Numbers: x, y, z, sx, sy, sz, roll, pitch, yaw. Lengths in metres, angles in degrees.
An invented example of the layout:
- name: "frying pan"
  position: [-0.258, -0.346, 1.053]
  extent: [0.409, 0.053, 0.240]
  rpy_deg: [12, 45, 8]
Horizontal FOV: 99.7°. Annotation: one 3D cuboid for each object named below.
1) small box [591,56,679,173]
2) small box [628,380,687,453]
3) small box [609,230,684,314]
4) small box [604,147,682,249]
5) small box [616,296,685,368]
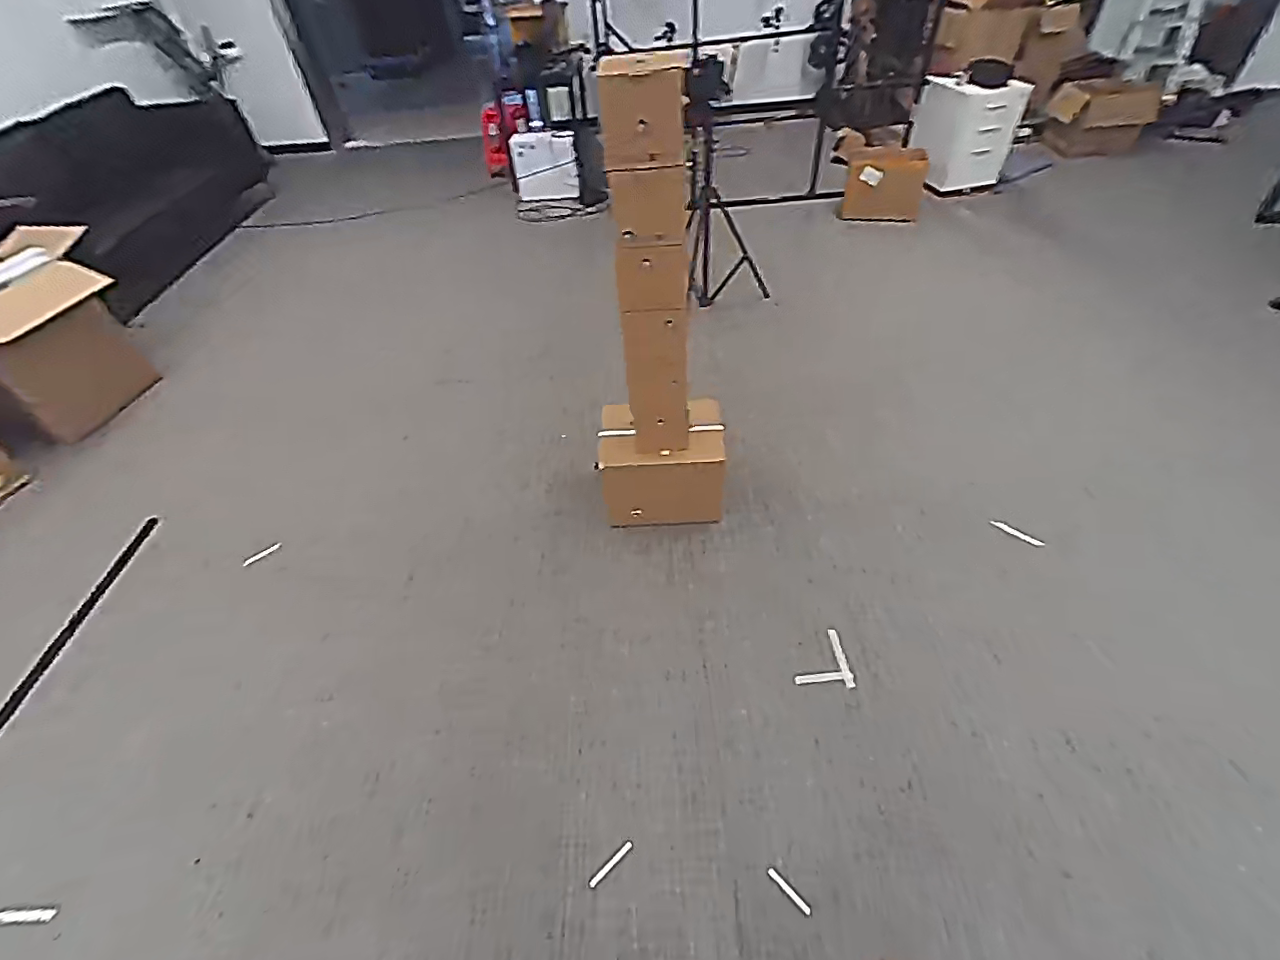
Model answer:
- name: "small box"
  position: [-0.005, -0.761, 1.136]
  extent: [0.168, 0.176, 0.179]
  rpy_deg: [-3, 48, 3]
- name: "small box"
  position: [0.057, -0.199, 1.728]
  extent: [0.179, 0.176, 0.168]
  rpy_deg: [-4, 47, 0]
- name: "small box"
  position: [0.021, -0.537, 1.375]
  extent: [0.179, 0.176, 0.168]
  rpy_deg: [-2, 47, 4]
- name: "small box"
  position: [0.013, -0.651, 1.256]
  extent: [0.168, 0.176, 0.179]
  rpy_deg: [-2, 46, 4]
- name: "small box"
  position: [0.032, -0.426, 1.491]
  extent: [0.179, 0.176, 0.168]
  rpy_deg: [-2, 47, 4]
